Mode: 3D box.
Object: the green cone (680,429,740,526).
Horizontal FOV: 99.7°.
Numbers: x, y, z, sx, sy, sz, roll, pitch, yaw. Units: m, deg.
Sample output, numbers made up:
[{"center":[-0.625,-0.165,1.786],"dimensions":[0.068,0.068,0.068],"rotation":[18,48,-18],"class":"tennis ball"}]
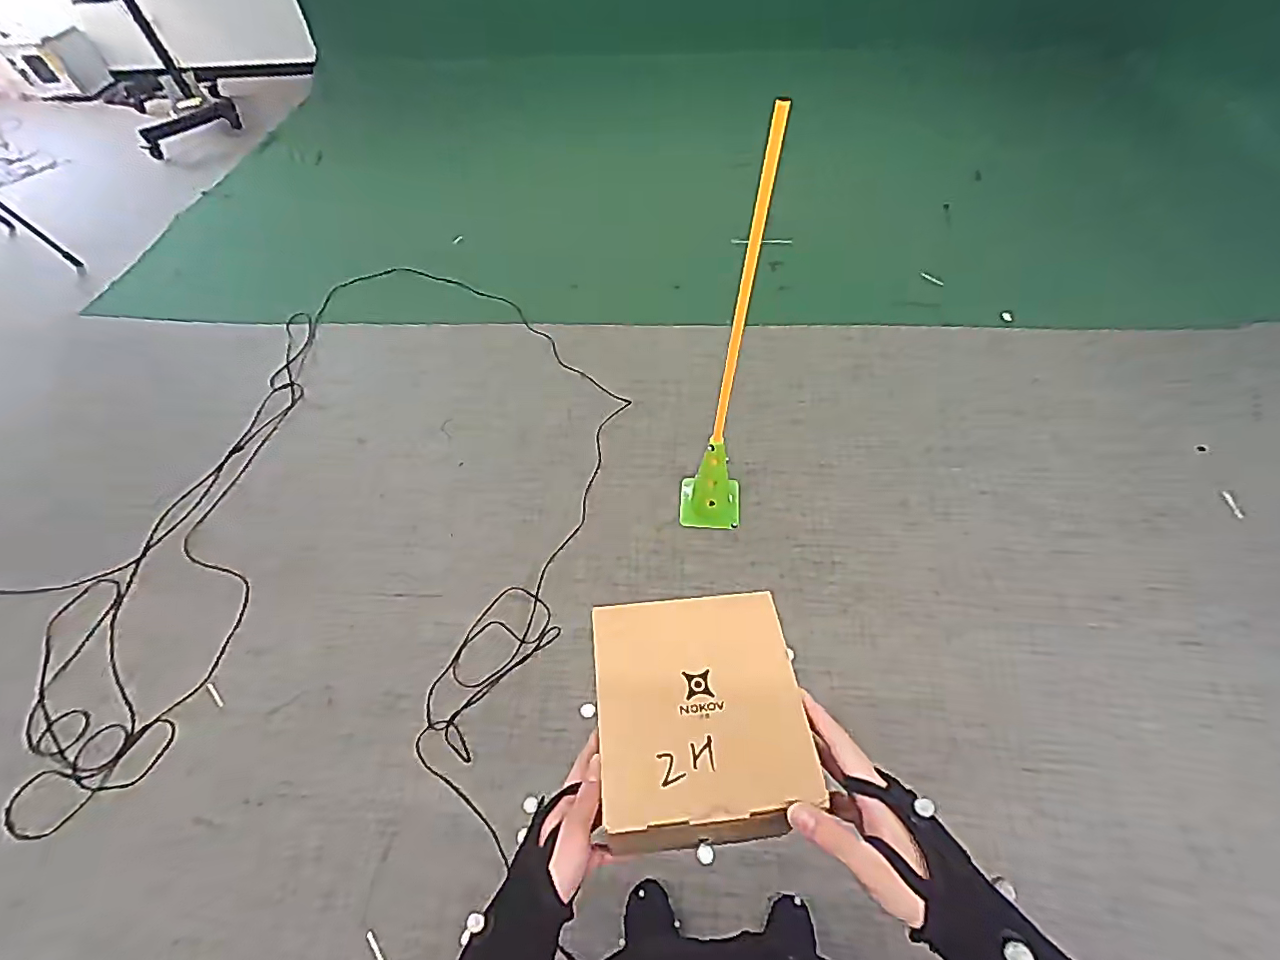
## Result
[{"center":[0.229,-0.033,1.717],"dimensions":[0.202,0.368,0.200],"rotation":[2,54,6],"class":"green cone"}]
